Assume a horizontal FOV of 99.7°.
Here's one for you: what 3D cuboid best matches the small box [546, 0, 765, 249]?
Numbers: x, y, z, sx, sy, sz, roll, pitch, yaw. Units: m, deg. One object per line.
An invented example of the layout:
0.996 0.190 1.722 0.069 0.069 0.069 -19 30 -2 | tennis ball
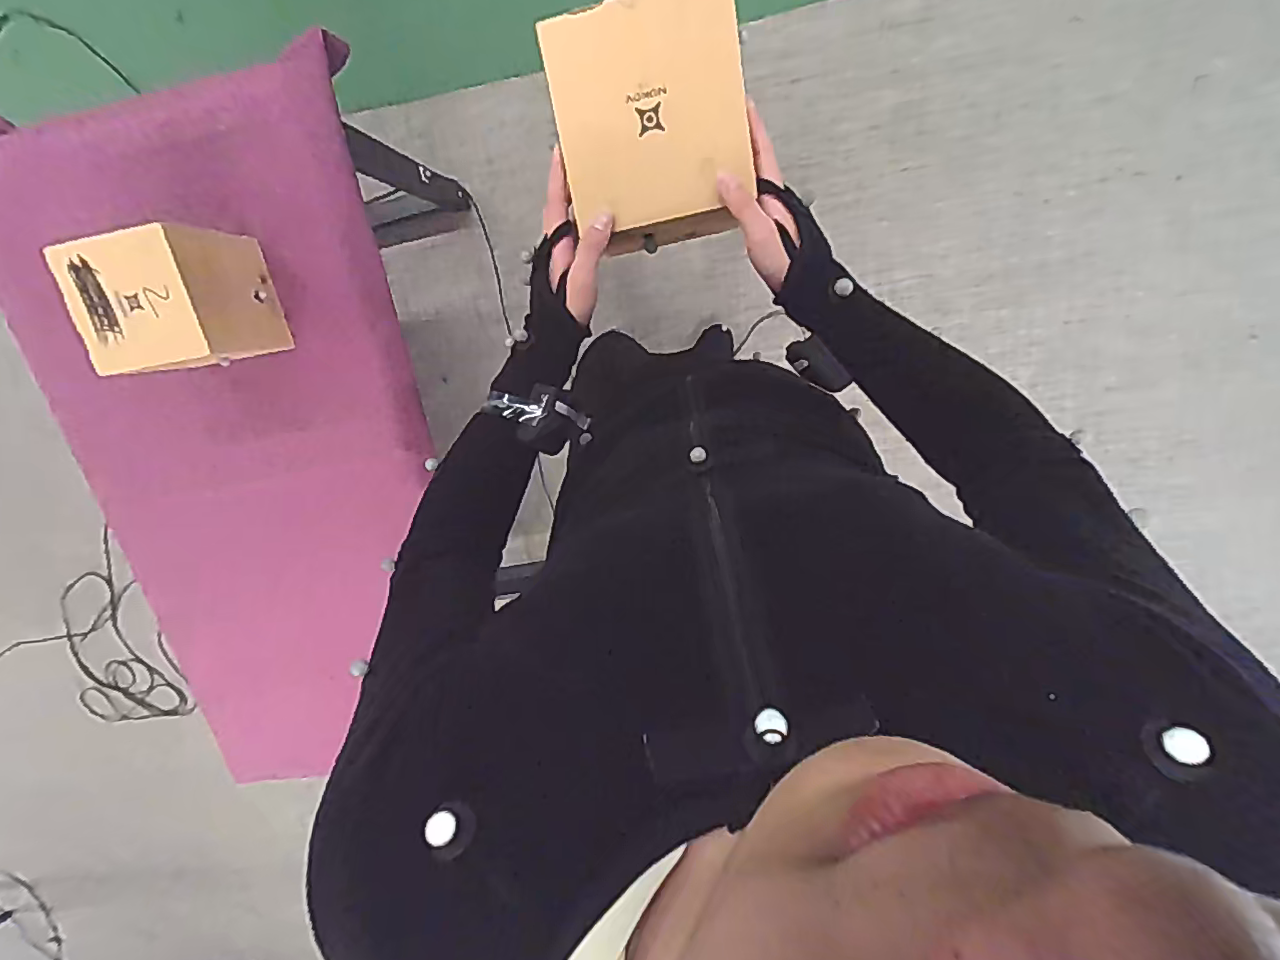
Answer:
0.024 -0.339 0.537 0.168 0.176 0.179 -10 105 8 | small box
